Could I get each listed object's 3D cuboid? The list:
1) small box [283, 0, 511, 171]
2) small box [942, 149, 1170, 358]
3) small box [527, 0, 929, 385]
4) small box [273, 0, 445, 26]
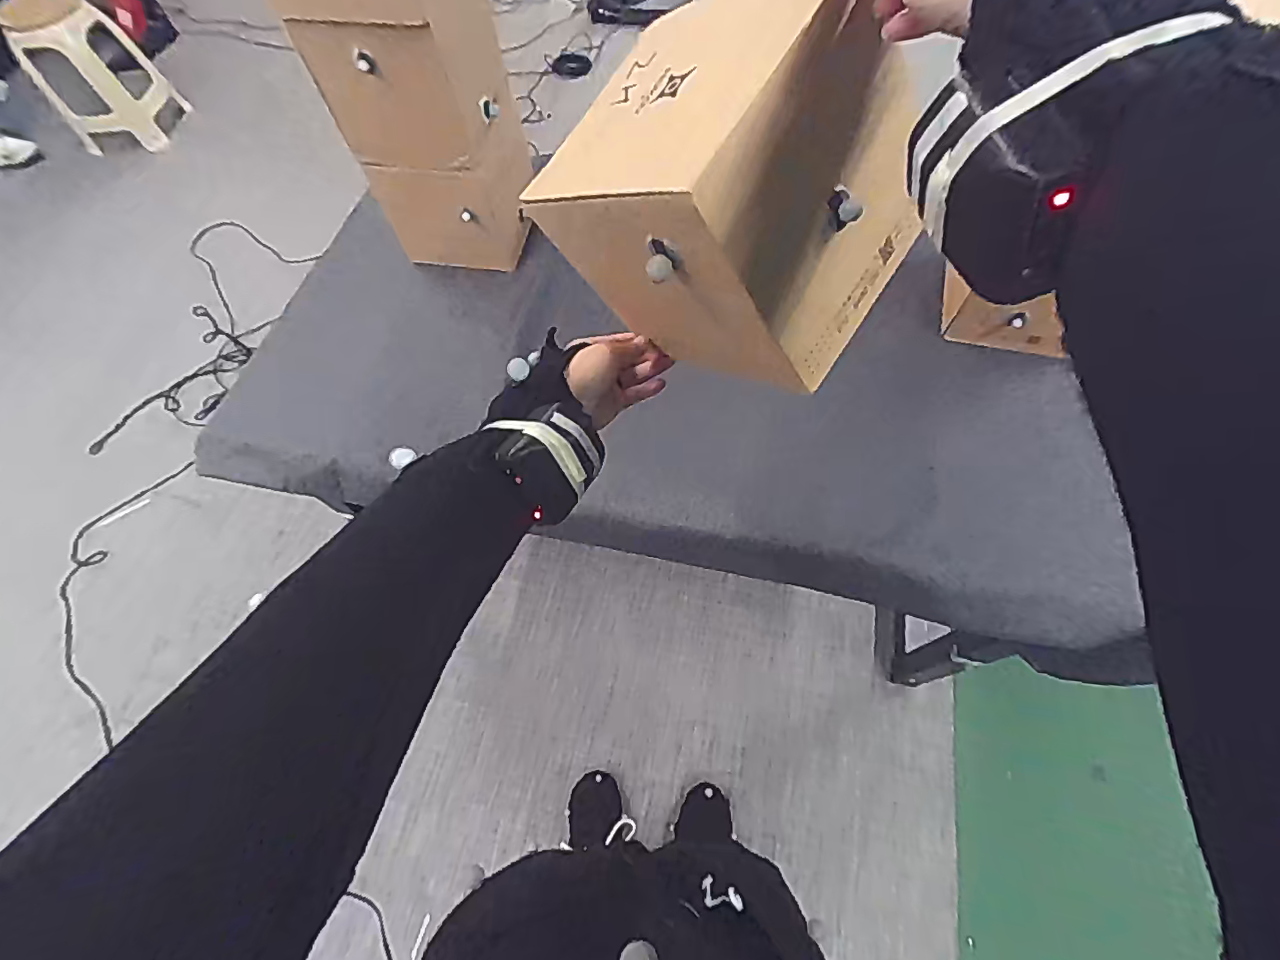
[{"bbox_3d":[-0.281,-0.515,0.673,0.179,0.176,0.168,7,66,6],"label":"small box"},{"bbox_3d":[0.507,-0.287,0.689,0.168,0.176,0.179,13,66,10],"label":"small box"},{"bbox_3d":[0.064,-0.187,0.369,0.179,0.176,0.168,30,83,47],"label":"small box"},{"bbox_3d":[-0.288,-0.578,0.520,0.179,0.176,0.168,9,66,7],"label":"small box"}]
